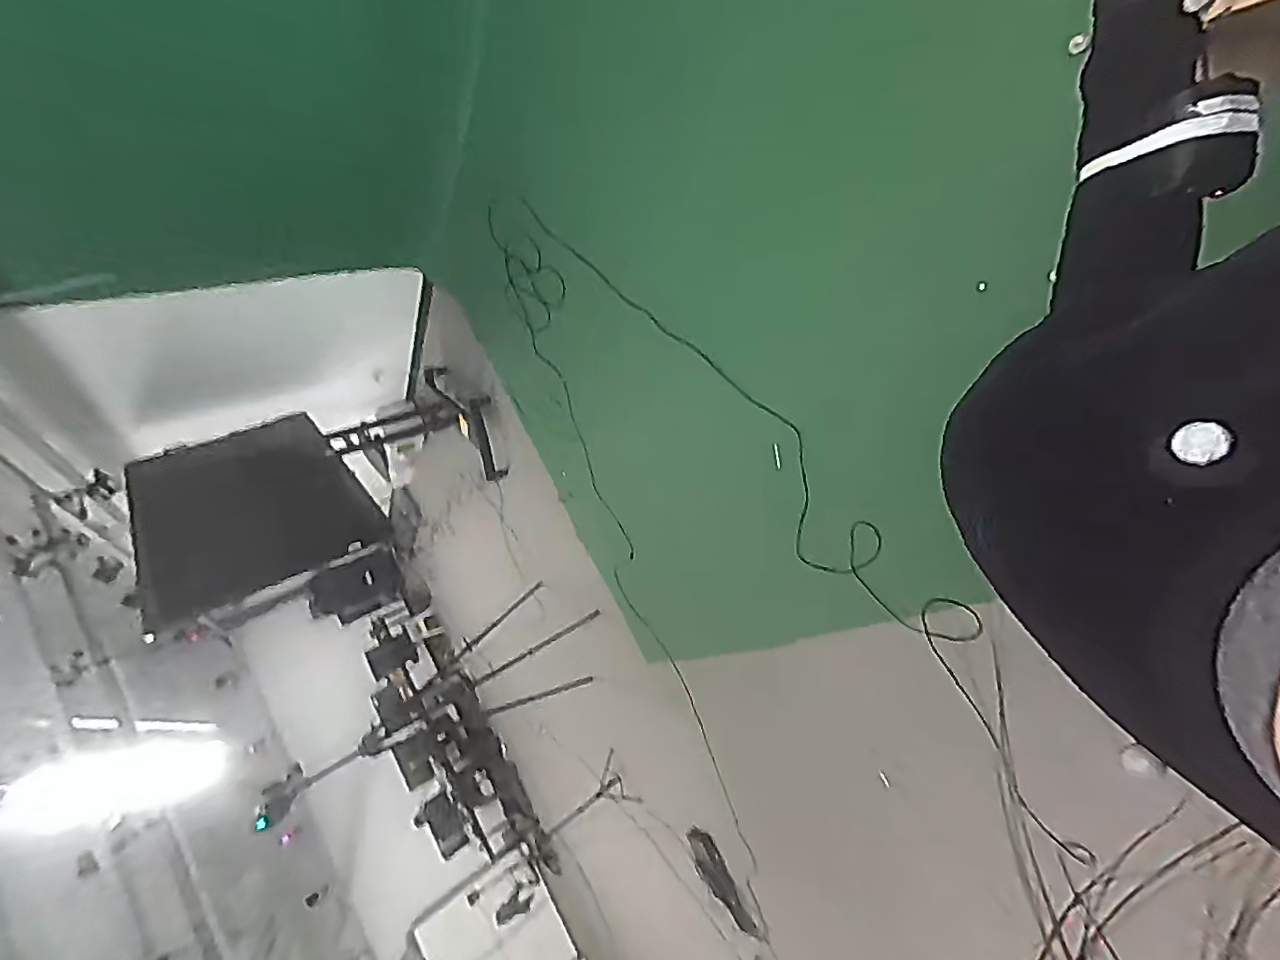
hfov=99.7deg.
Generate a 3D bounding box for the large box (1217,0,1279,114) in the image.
[{"bbox_3d":[0.589,-0.437,0.254,0.408,0.320,0.320,10,112,45],"label":"large box"}]
